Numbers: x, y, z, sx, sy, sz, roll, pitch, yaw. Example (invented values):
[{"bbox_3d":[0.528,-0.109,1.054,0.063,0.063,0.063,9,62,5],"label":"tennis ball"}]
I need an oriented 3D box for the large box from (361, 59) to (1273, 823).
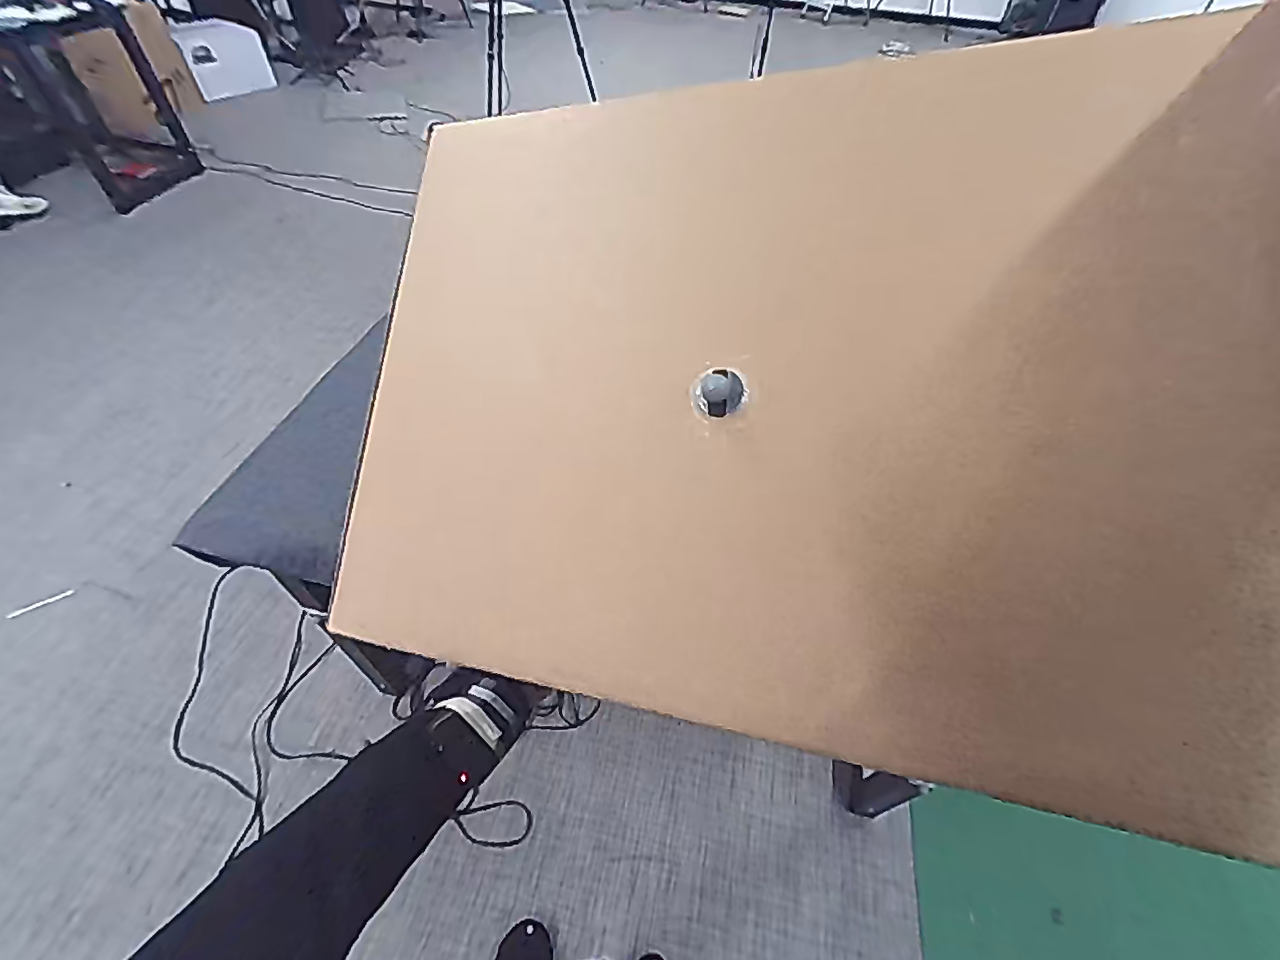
[{"bbox_3d":[0.088,-0.015,0.399,0.408,0.320,0.320,4,82,18],"label":"large box"}]
